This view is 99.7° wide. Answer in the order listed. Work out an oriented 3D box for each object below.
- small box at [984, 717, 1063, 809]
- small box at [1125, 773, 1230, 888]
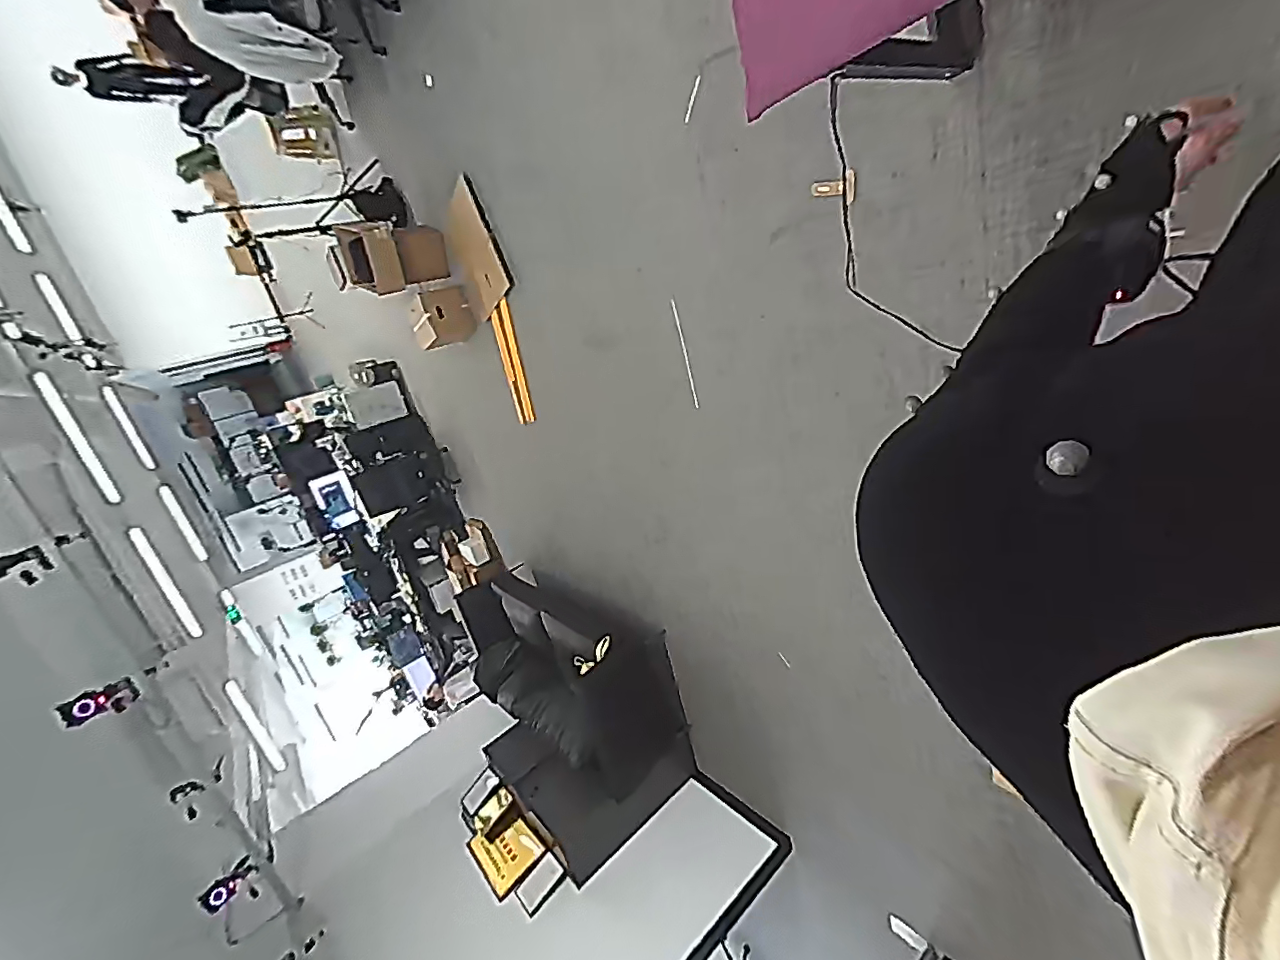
[{"bbox_3d":[1.255,0.914,1.766,0.179,0.176,0.168,10,120,52],"label":"small box"},{"bbox_3d":[1.477,0.948,1.487,0.179,0.176,0.168,10,122,50],"label":"small box"}]
